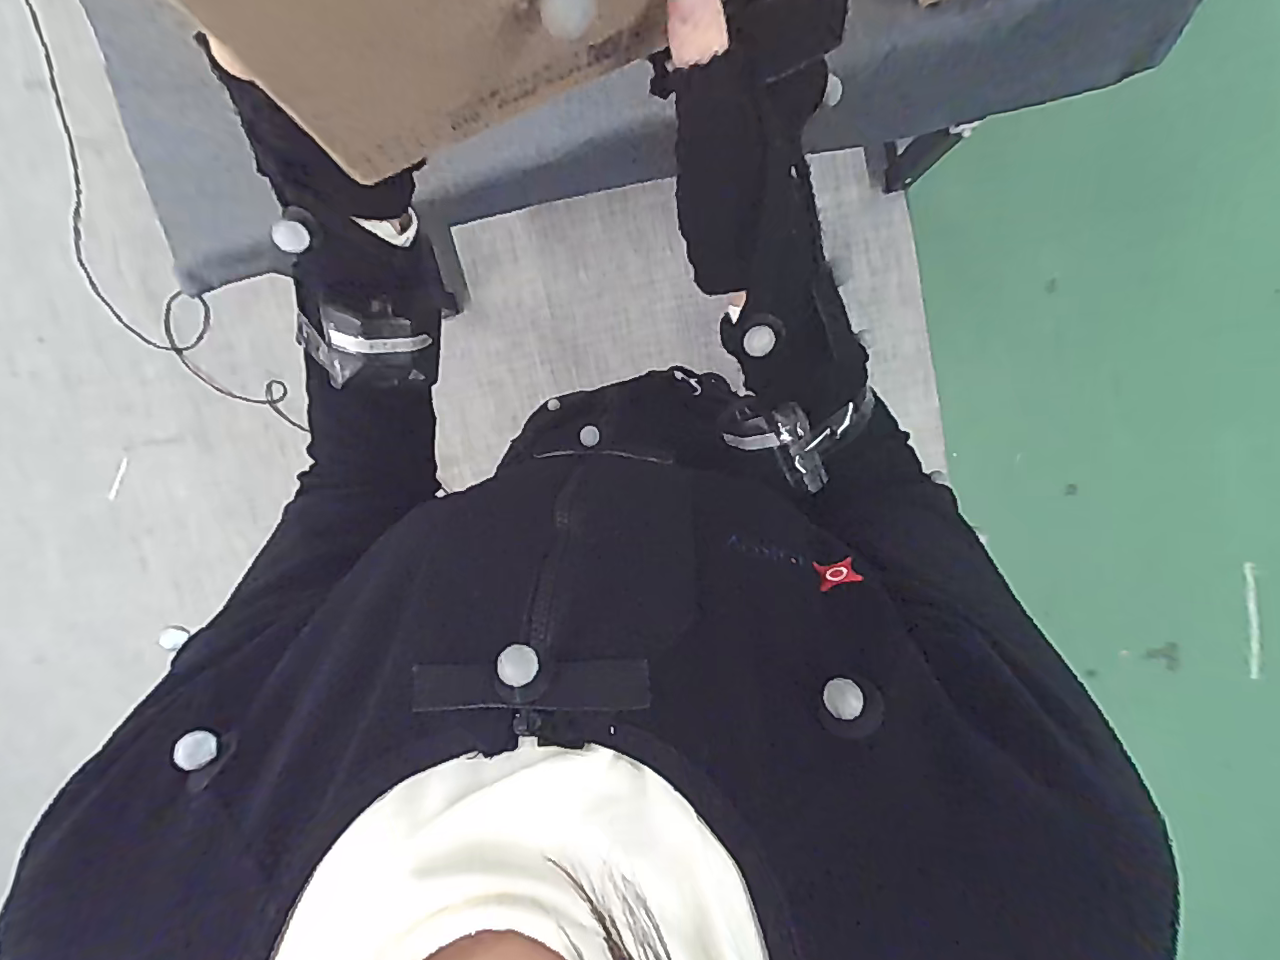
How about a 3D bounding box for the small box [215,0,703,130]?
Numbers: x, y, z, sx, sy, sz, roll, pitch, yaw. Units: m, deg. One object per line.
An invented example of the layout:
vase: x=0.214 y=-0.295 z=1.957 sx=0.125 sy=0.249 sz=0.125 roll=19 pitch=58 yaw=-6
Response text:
small box: x=-0.060 y=-0.216 z=0.121 sx=0.168 sy=0.176 sz=0.179 roll=-28 pitch=105 yaw=-3
